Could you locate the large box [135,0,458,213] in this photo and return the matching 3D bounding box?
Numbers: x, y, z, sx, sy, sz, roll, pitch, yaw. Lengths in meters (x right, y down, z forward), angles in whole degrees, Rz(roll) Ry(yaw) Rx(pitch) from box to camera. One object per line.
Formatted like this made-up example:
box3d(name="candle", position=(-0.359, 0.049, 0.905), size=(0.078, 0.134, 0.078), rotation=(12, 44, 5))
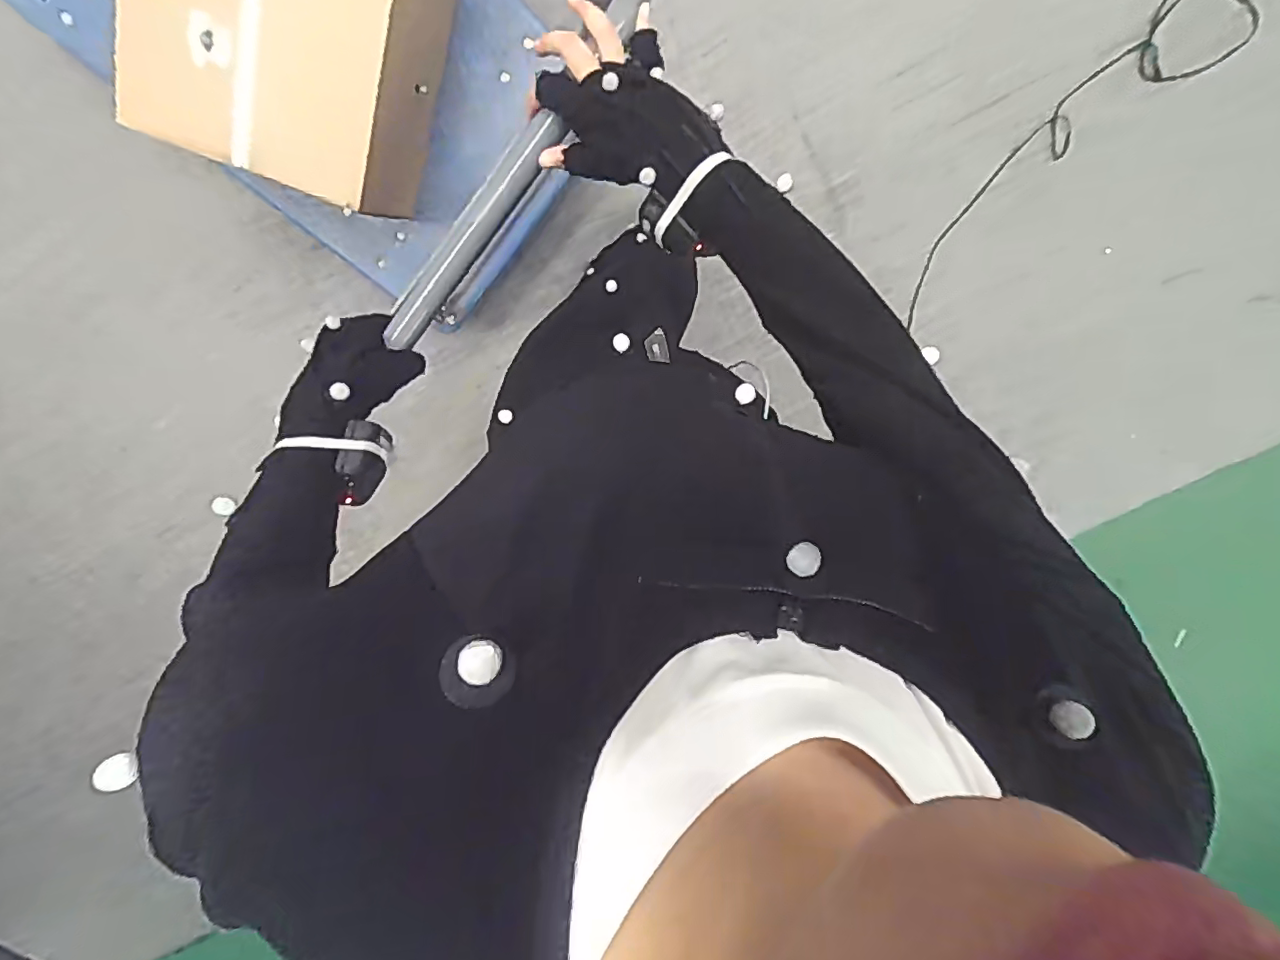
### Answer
box3d(name="large box", position=(-0.494, -0.677, 0.833), size=(0.320, 0.320, 0.408), rotation=(17, 112, -13))
